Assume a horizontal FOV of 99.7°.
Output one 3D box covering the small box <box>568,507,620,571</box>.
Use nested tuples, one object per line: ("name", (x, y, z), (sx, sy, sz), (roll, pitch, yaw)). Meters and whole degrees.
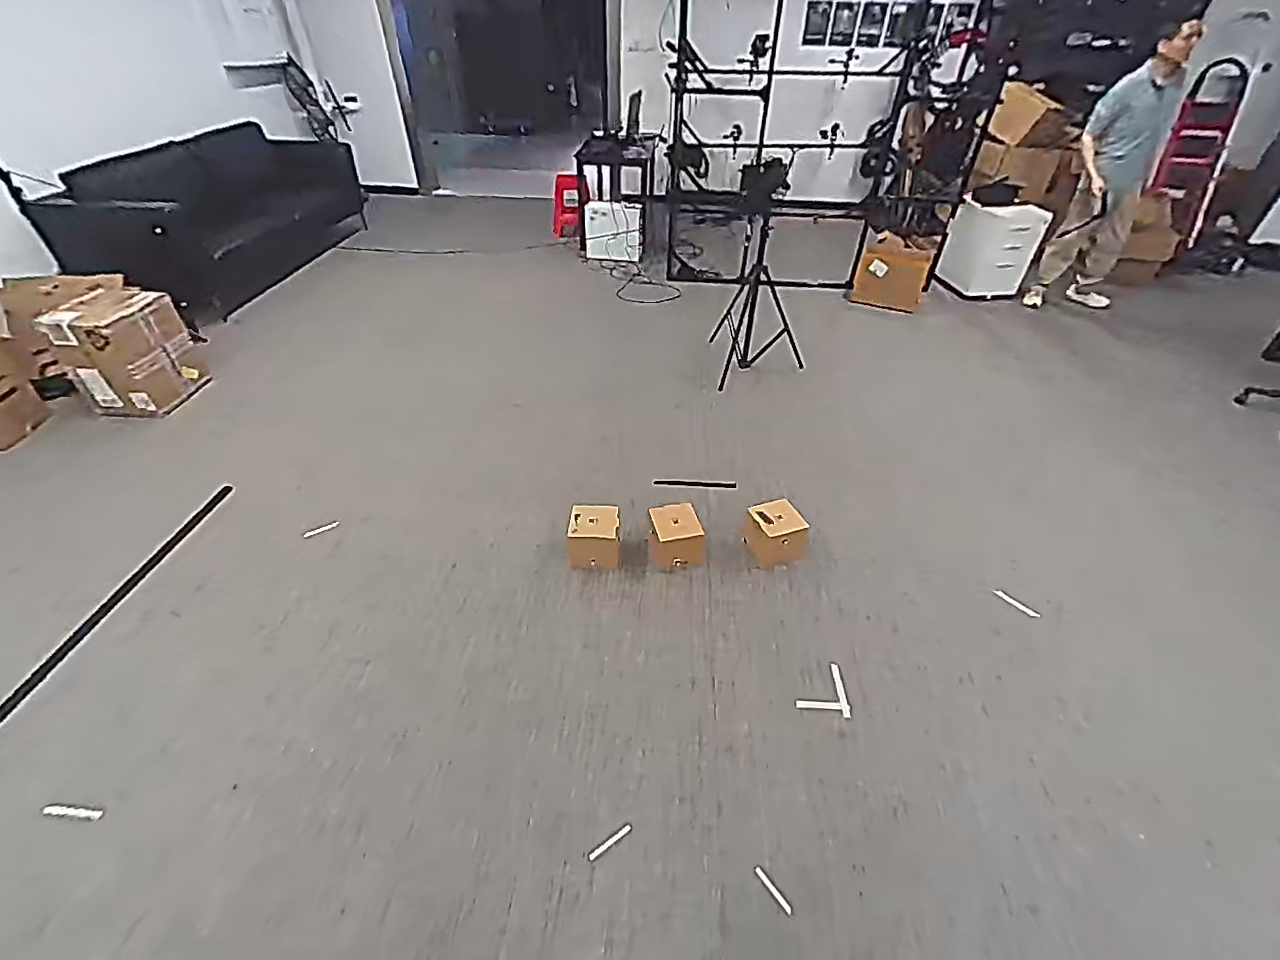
("small box", (-0.166, 0.222, 2.014), (0.179, 0.176, 0.168), (2, 40, 2))

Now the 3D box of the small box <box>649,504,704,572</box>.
("small box", (0.131, 0.218, 2.023), (0.168, 0.176, 0.179), (-10, 42, -11))

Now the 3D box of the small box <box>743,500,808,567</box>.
("small box", (0.504, 0.204, 2.044), (0.179, 0.176, 0.168), (-12, 42, -17))
